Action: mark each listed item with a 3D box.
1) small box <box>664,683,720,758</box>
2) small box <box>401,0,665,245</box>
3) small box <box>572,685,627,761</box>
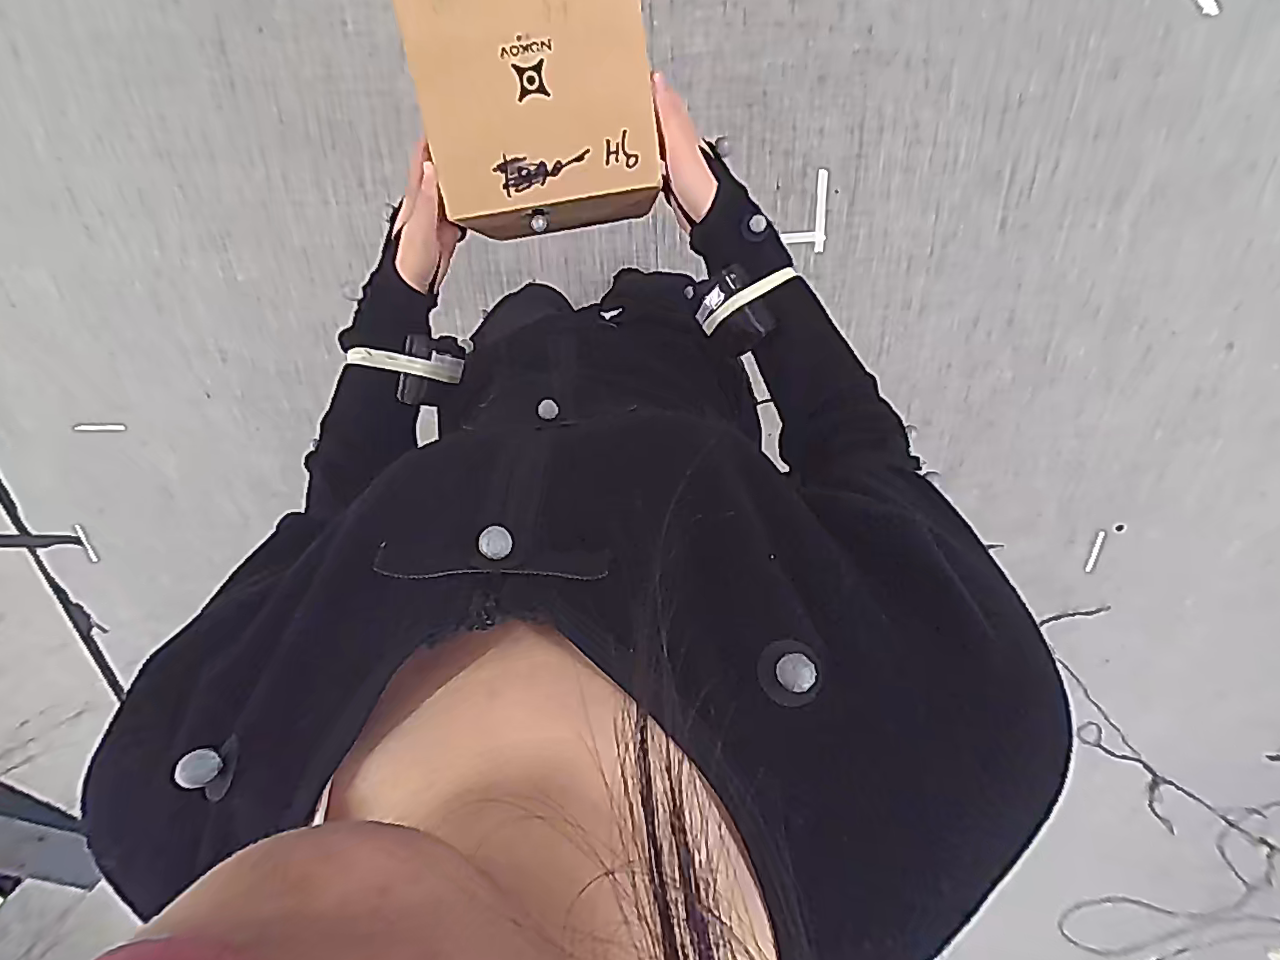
[{"bbox_3d":[0.172,0.811,1.830,0.179,0.176,0.168,2,113,3],"label":"small box"},{"bbox_3d":[-0.078,-0.309,0.452,0.168,0.176,0.179,-9,109,0],"label":"small box"},{"bbox_3d":[-0.132,0.830,1.851,0.168,0.176,0.179,-1,113,3],"label":"small box"}]
